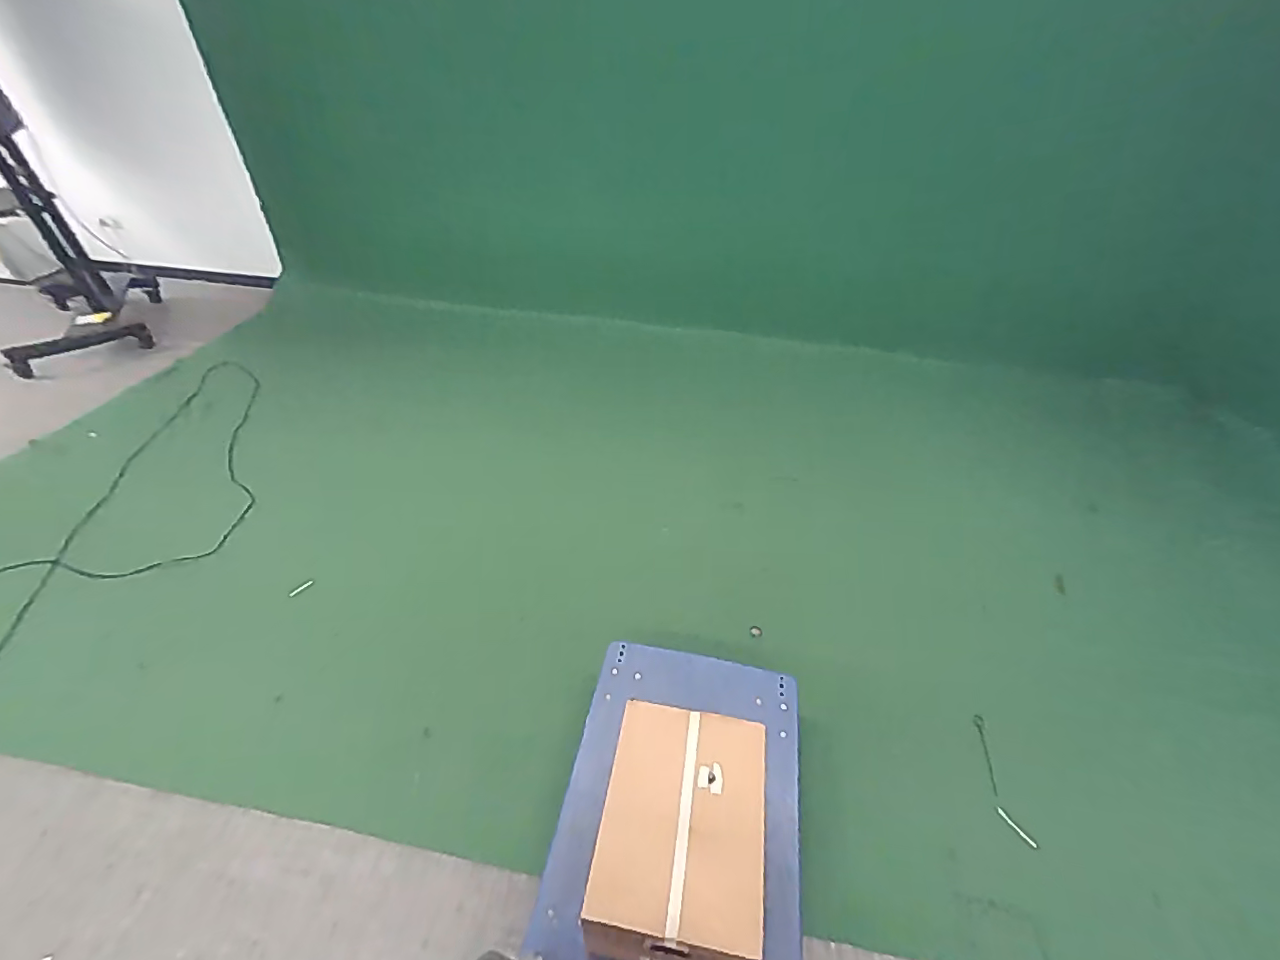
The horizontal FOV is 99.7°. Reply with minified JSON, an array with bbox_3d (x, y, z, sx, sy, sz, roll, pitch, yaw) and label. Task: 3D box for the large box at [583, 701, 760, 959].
[{"bbox_3d":[0.079,0.763,1.167,0.320,0.320,0.408,8,41,6],"label":"large box"}]
